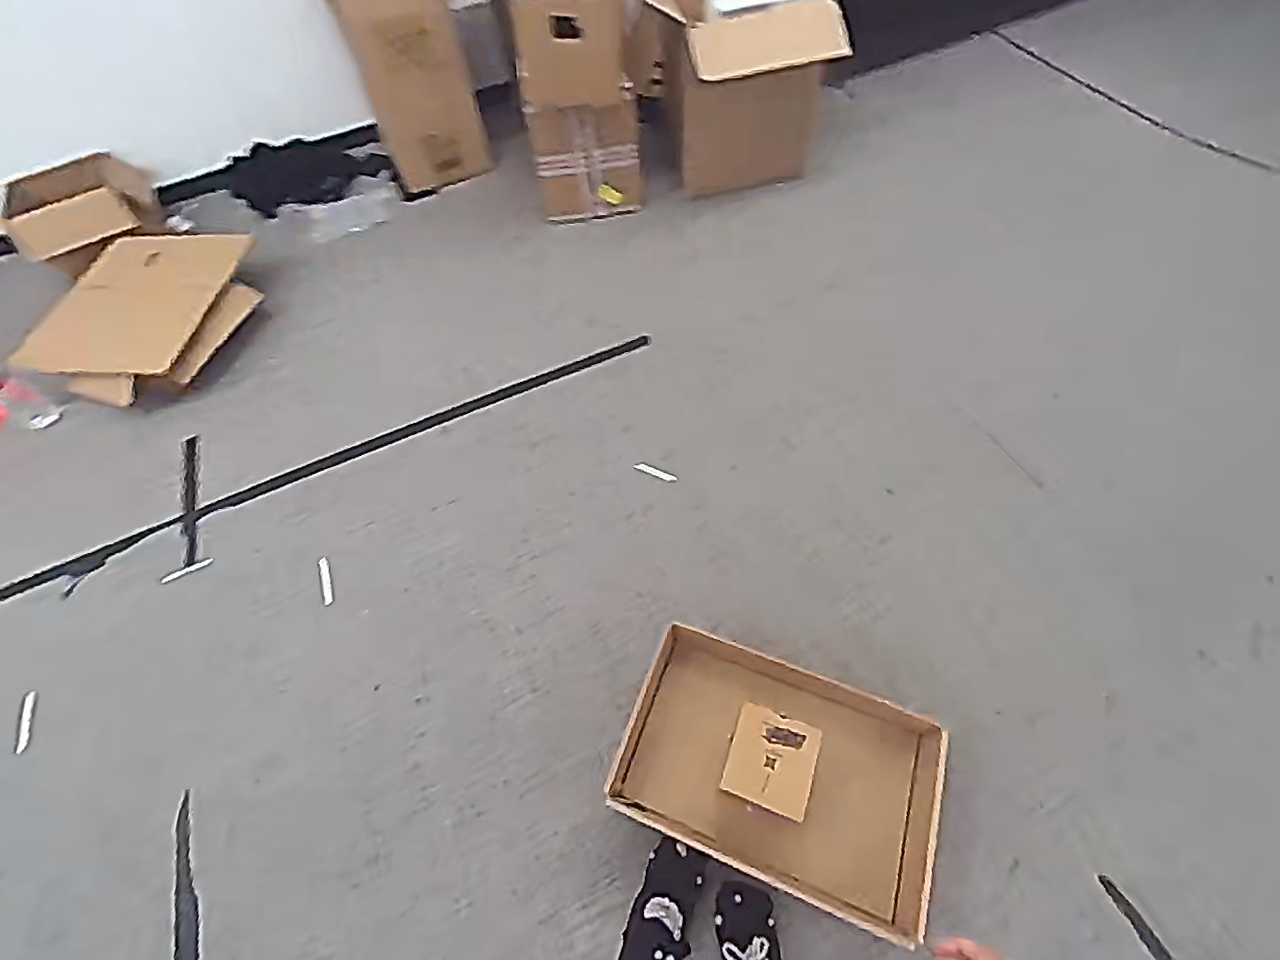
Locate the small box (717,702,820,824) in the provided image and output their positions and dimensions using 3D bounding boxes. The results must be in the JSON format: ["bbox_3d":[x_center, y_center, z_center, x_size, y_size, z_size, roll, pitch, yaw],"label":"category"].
[{"bbox_3d":[0.267,0.601,1.153,0.168,0.176,0.179,18,64,15],"label":"small box"}]
